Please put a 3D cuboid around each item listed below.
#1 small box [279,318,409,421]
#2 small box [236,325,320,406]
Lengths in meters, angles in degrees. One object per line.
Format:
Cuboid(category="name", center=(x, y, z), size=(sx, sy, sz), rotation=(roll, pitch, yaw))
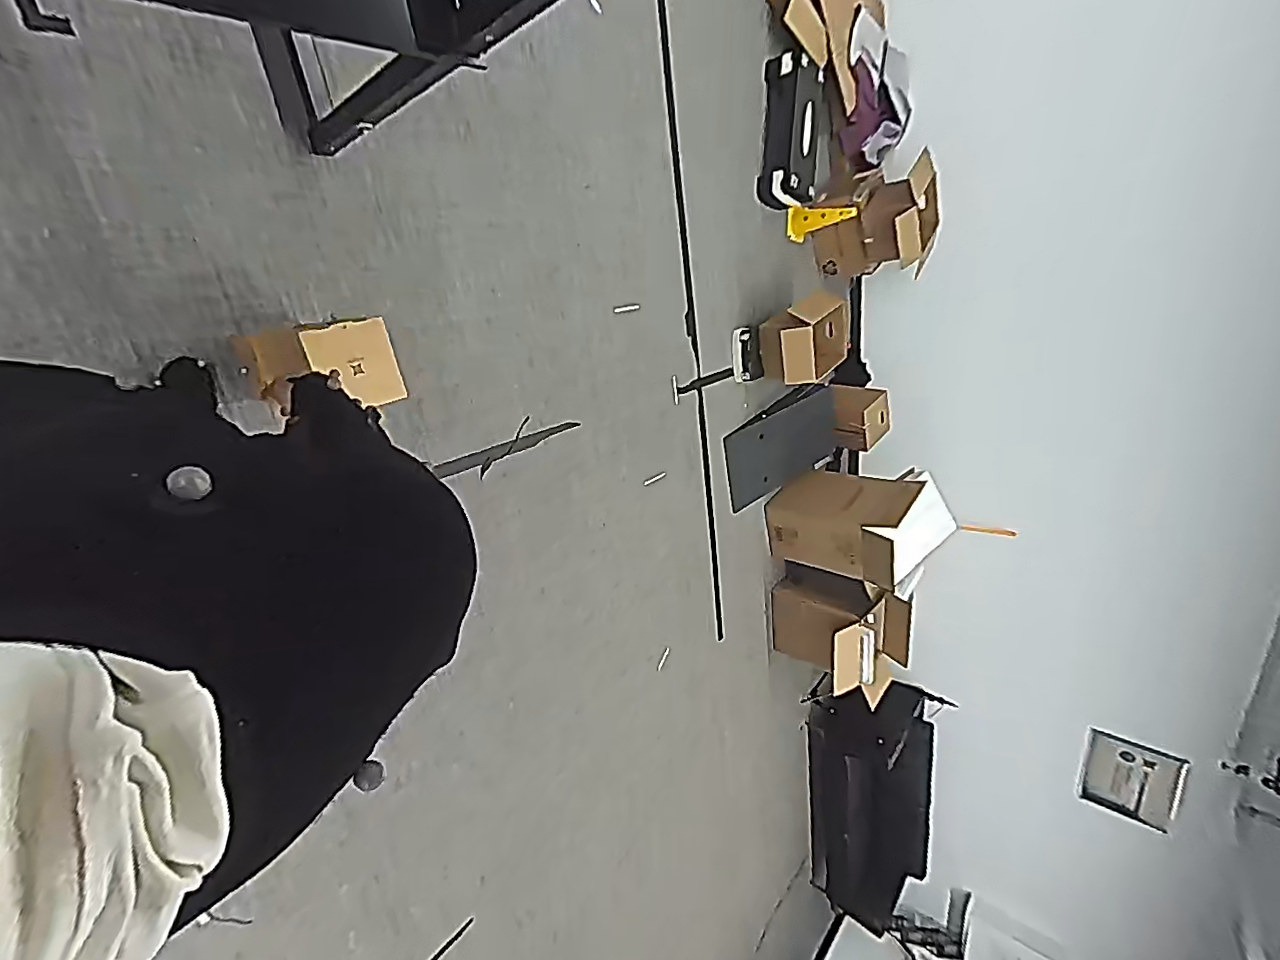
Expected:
Cuboid(category="small box", center=(-0.626, -0.239, 1.147), size=(0.168, 0.176, 0.179), rotation=(-31, 120, -40))
Cuboid(category="small box", center=(-0.870, -0.293, 1.358), size=(0.179, 0.176, 0.168), rotation=(-29, 119, -40))
